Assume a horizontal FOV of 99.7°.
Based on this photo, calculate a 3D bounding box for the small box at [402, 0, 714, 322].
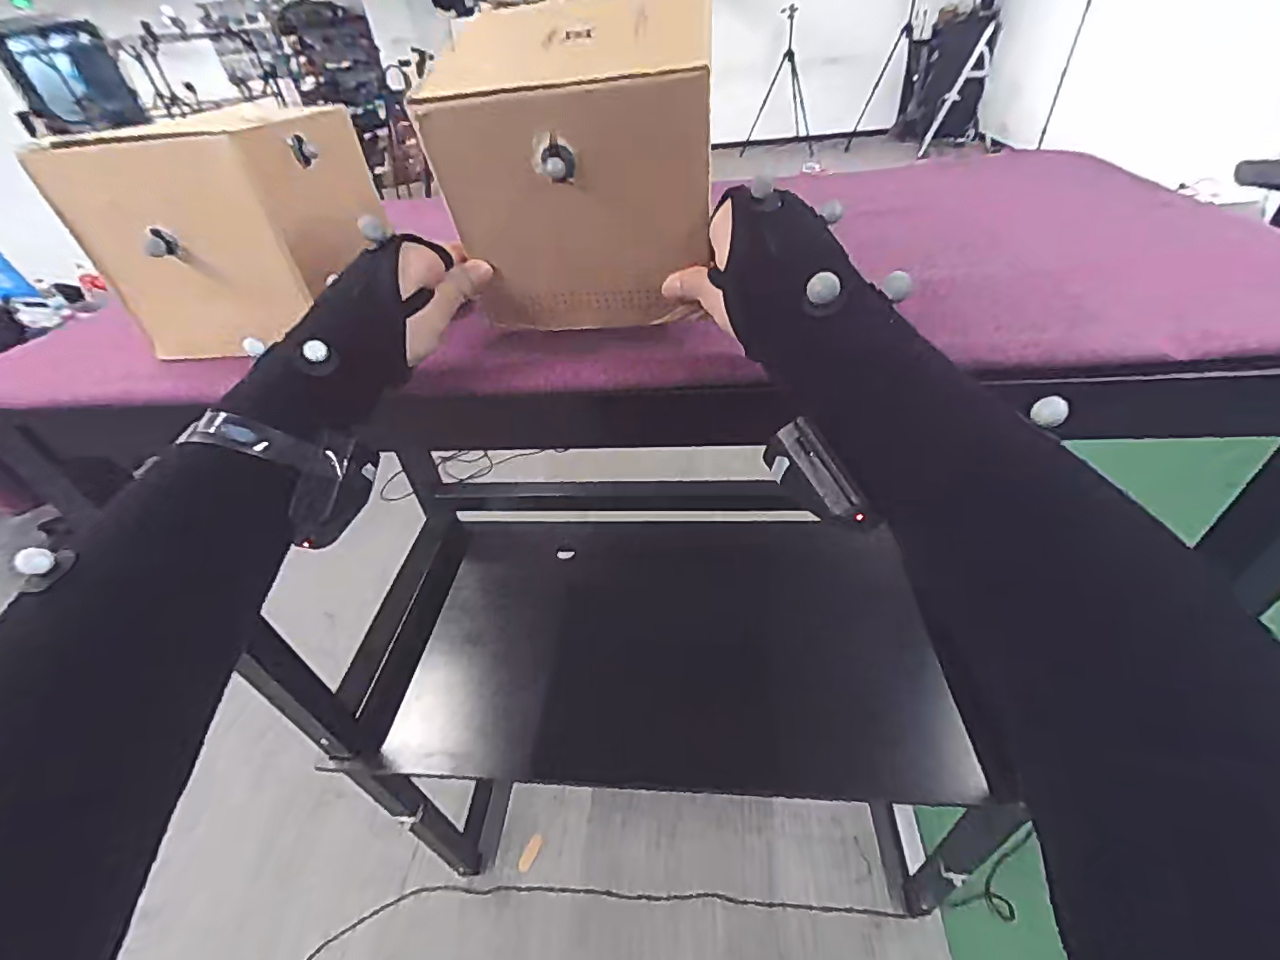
[{"bbox_3d":[-0.035,-0.235,0.406,0.179,0.176,0.168,0,53,8],"label":"small box"}]

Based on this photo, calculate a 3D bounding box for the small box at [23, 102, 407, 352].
[{"bbox_3d":[-0.349,-0.226,0.491,0.179,0.176,0.168,-2,39,6],"label":"small box"}]
